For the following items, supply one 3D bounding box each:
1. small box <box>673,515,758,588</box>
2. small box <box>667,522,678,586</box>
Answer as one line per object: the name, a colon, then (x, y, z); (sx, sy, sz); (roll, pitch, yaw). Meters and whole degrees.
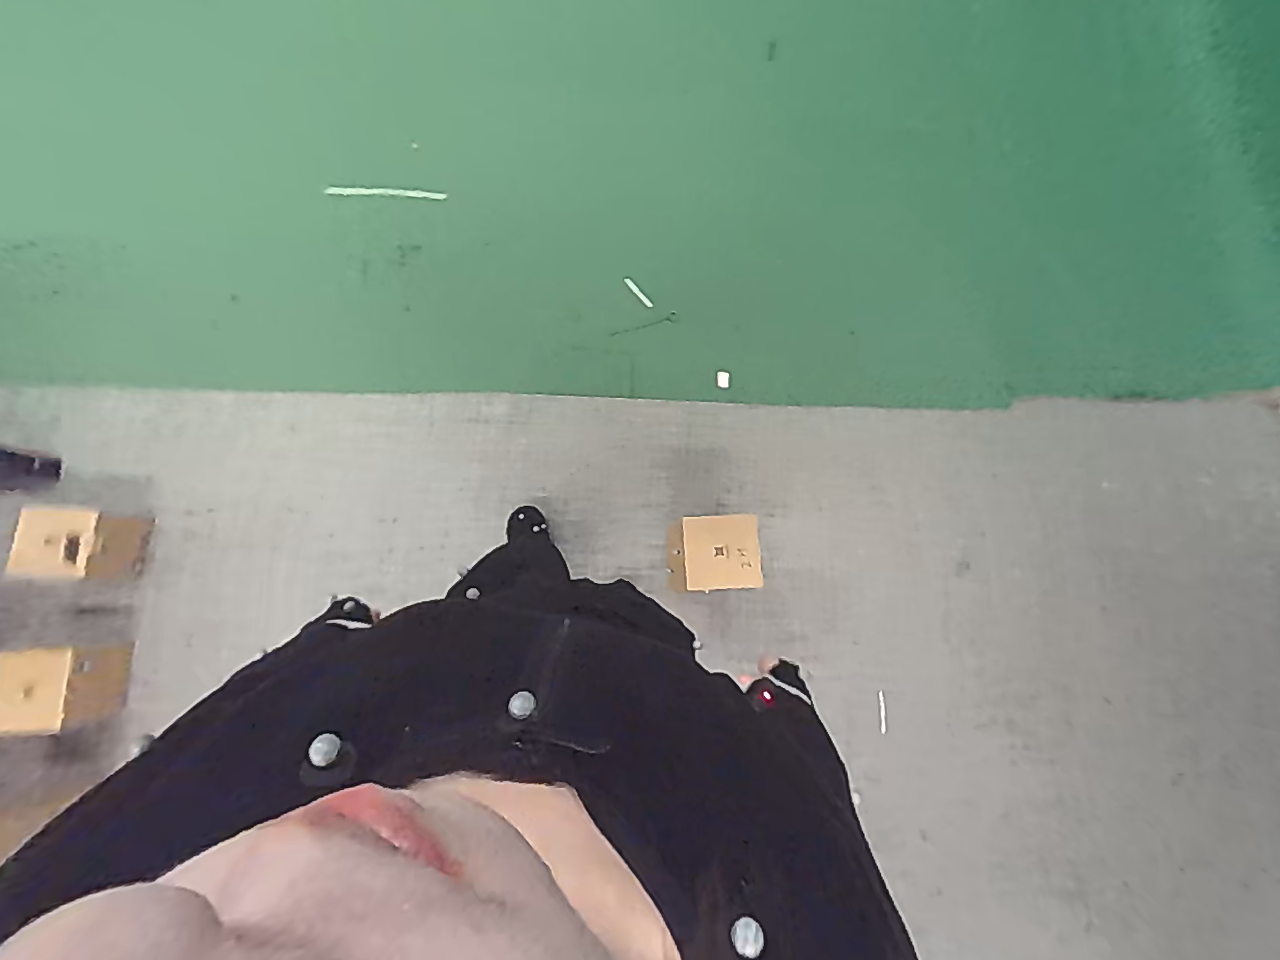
small box: (0.173, 0.174, 1.297); (0.179, 0.176, 0.168); (-1, 81, -4)
small box: (0.166, 0.205, 1.459); (0.179, 0.176, 0.168); (1, 80, -4)
